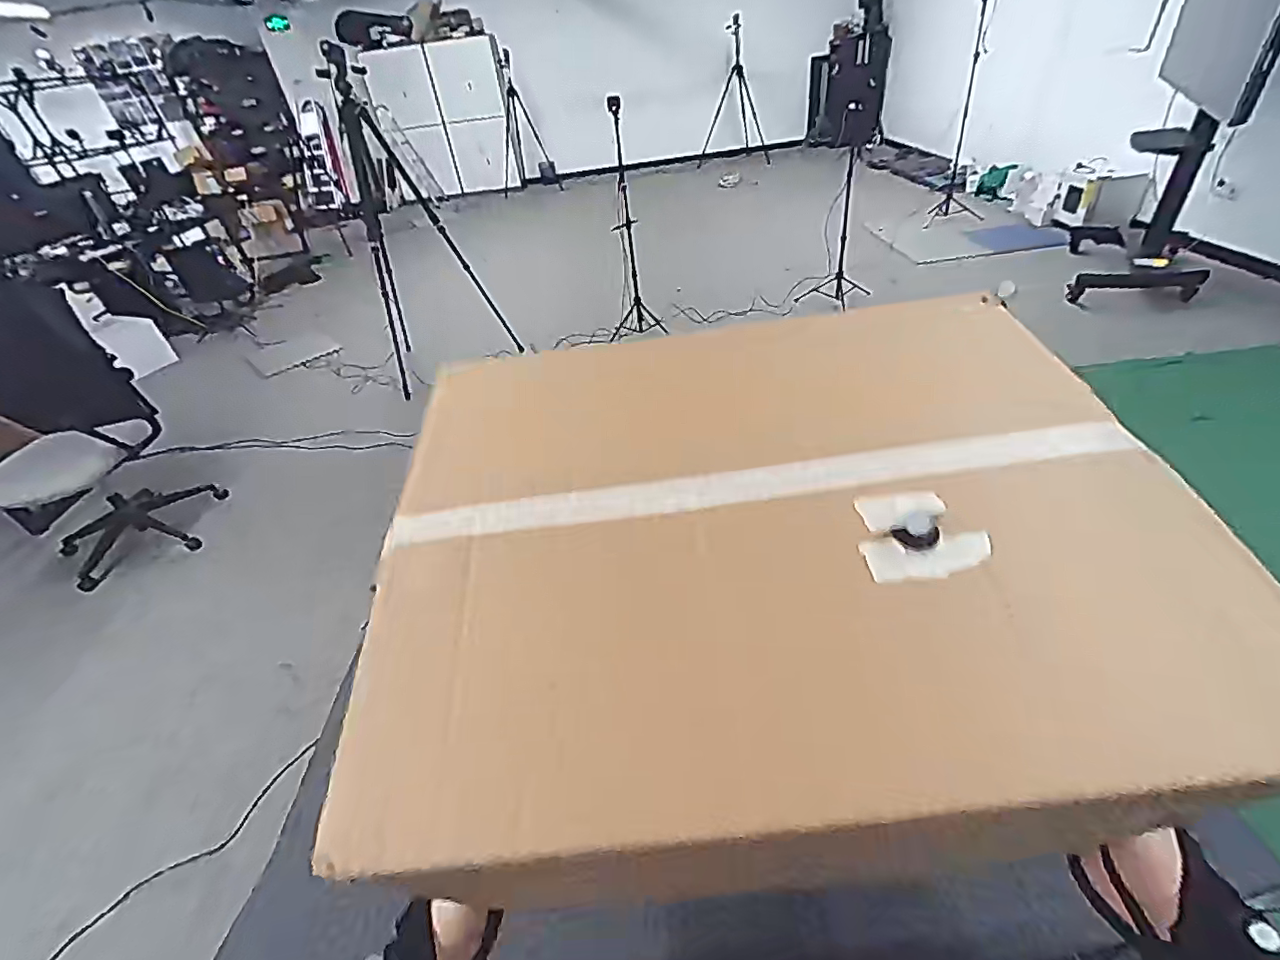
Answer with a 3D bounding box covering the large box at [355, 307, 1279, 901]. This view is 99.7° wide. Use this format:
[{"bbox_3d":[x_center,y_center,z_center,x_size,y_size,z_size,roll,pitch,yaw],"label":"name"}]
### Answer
[{"bbox_3d":[0.077,0.106,0.427,0.408,0.320,0.320,-8,50,1],"label":"large box"}]
